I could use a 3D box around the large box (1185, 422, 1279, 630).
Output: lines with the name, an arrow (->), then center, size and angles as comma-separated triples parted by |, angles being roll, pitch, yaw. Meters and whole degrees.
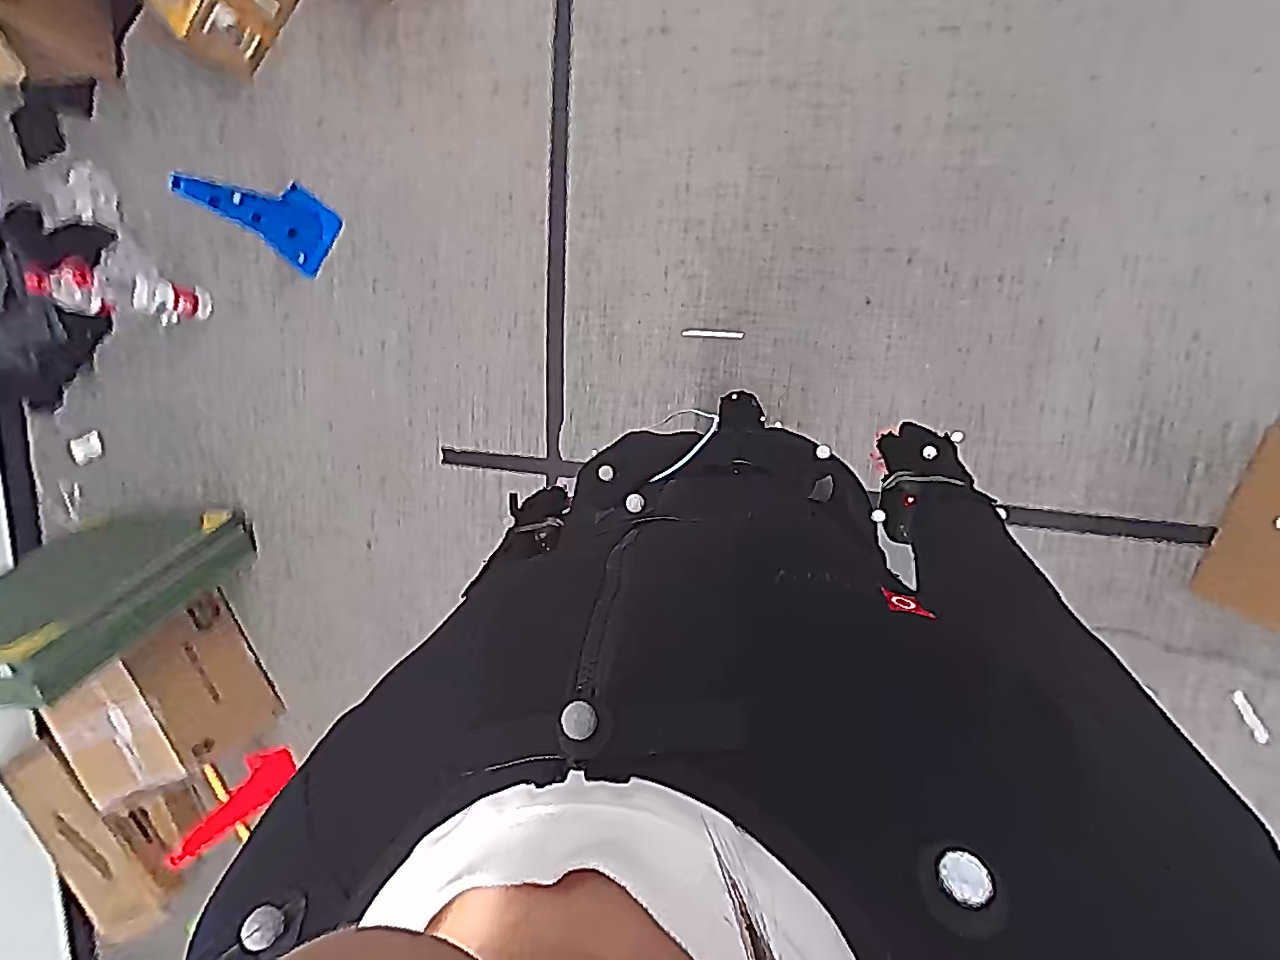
large box -> 1.411, 0.121, 1.047 | 0.320, 0.320, 0.408 | 17, 100, 8
